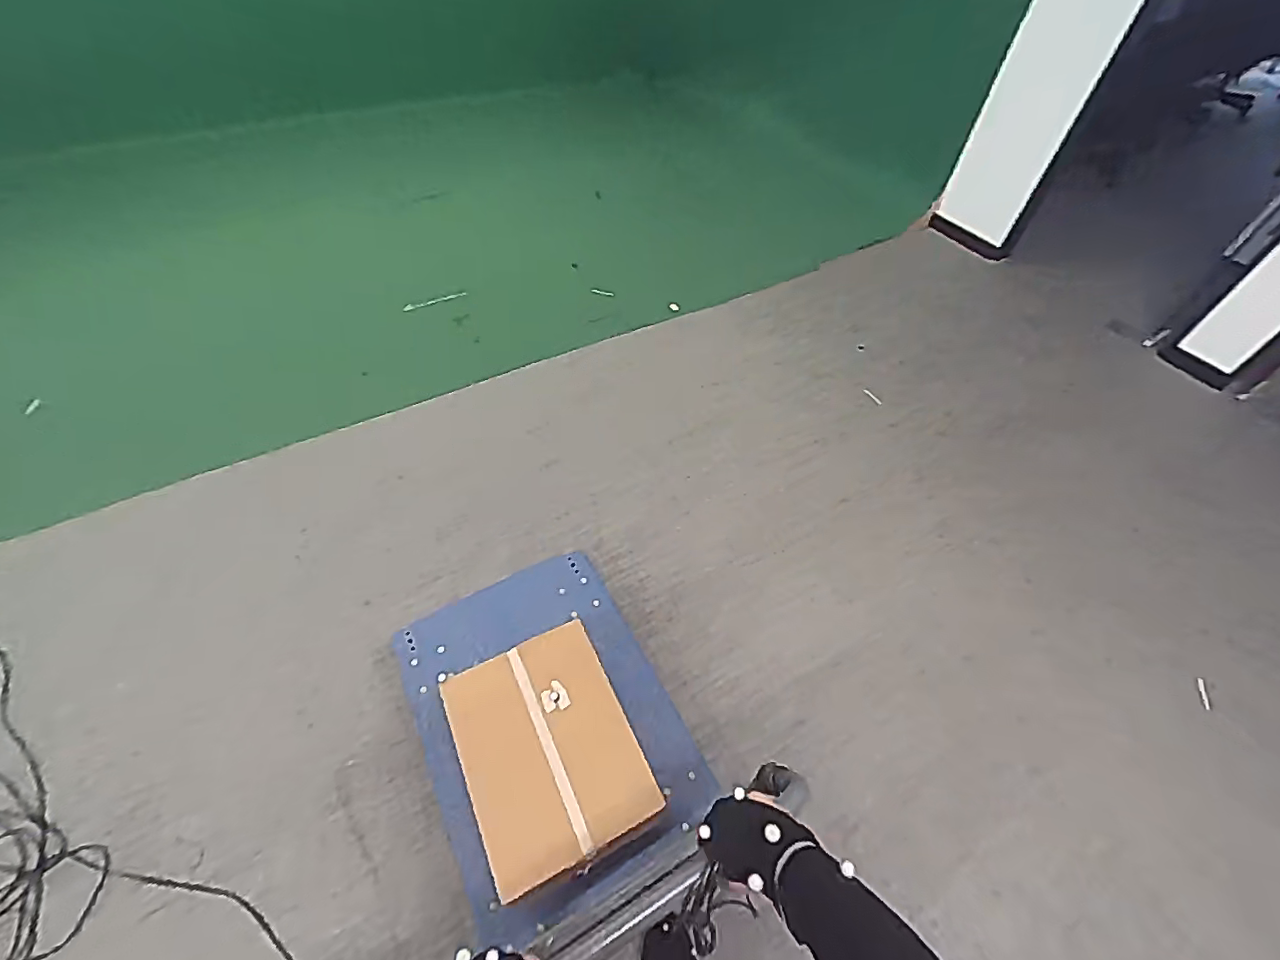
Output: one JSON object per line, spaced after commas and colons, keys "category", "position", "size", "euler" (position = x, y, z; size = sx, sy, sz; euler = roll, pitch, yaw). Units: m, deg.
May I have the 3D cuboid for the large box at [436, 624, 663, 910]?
{"category": "large box", "position": [-0.185, 0.593, 1.138], "size": [0.320, 0.320, 0.408], "euler": [-21, 55, -18]}
